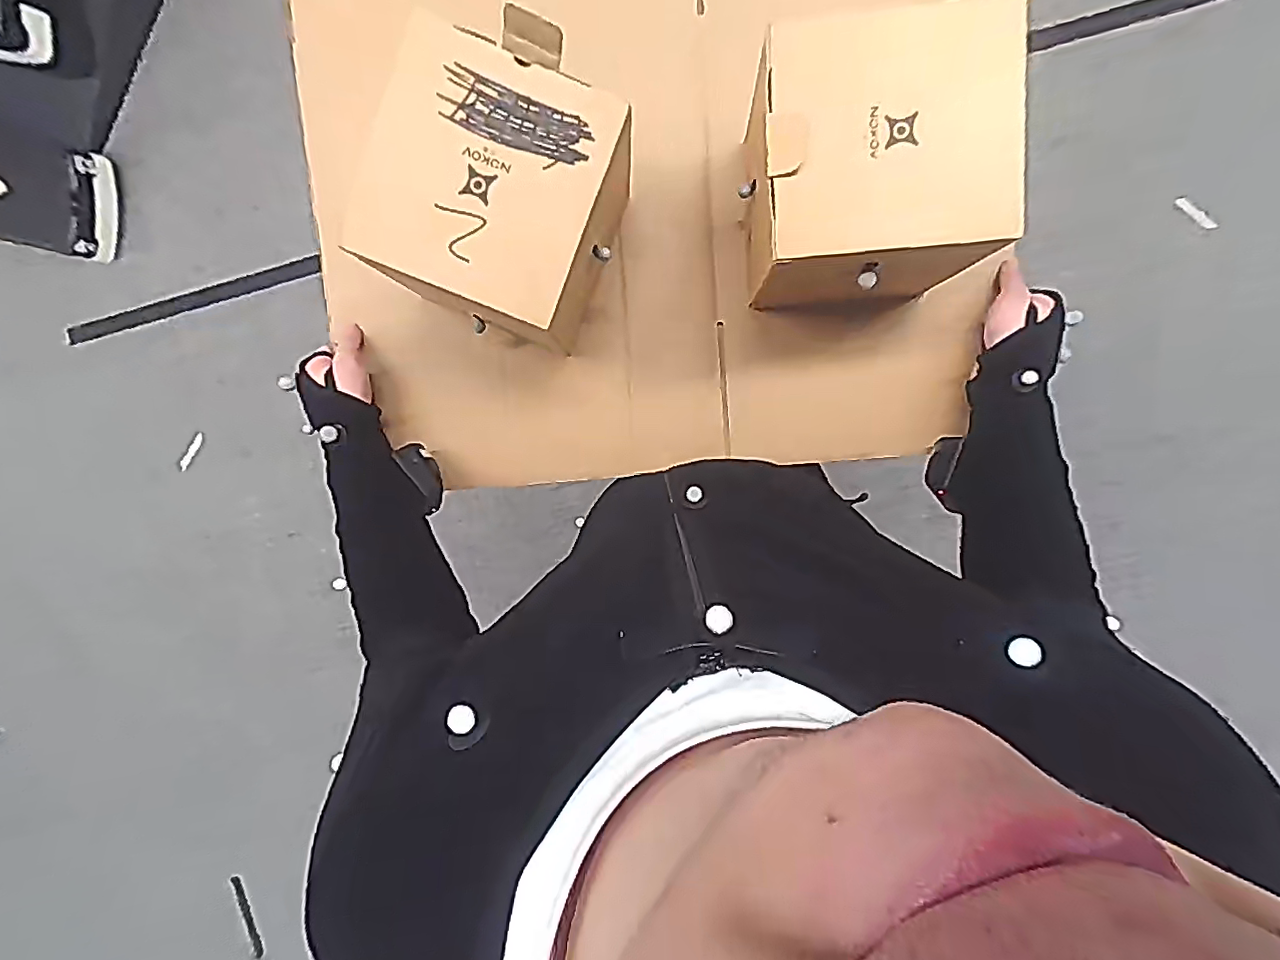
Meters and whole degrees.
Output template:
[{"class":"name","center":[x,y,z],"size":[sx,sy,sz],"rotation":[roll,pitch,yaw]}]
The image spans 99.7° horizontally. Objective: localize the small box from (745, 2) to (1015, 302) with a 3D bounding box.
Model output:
[{"class":"small box","center":[0.192,-0.264,0.479],"size":[0.179,0.176,0.168],"rotation":[-3,96,7]}]
